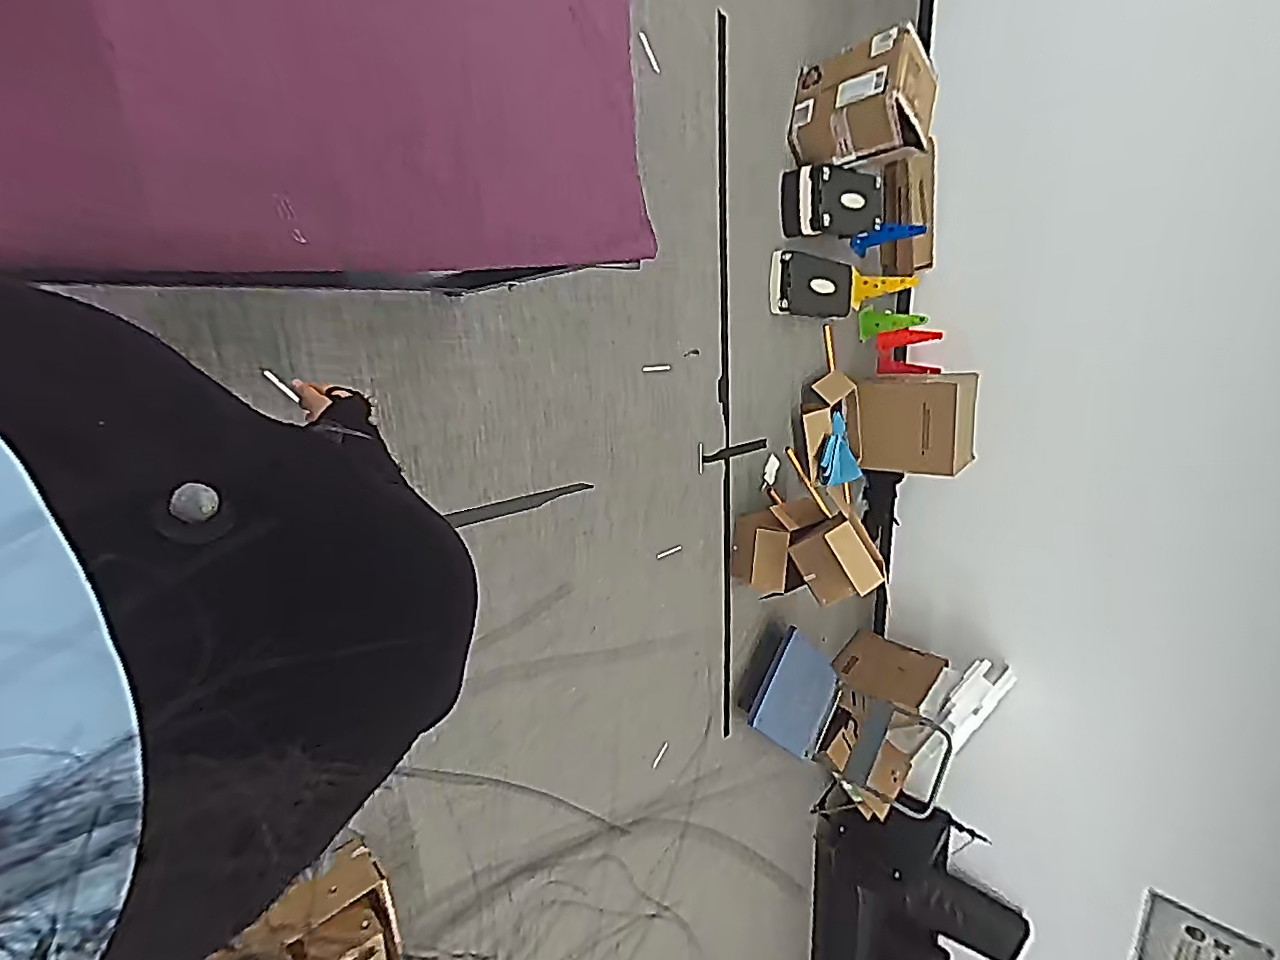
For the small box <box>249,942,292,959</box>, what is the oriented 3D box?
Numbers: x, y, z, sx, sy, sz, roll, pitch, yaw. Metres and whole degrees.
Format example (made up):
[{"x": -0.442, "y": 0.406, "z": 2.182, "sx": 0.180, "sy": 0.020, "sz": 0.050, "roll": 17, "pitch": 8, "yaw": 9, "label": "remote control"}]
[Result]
[{"x": -0.951, "y": 1.320, "z": 1.352, "sx": 0.168, "sy": 0.176, "sz": 0.179, "roll": -22, "pitch": 113, "yaw": -40, "label": "small box"}]
